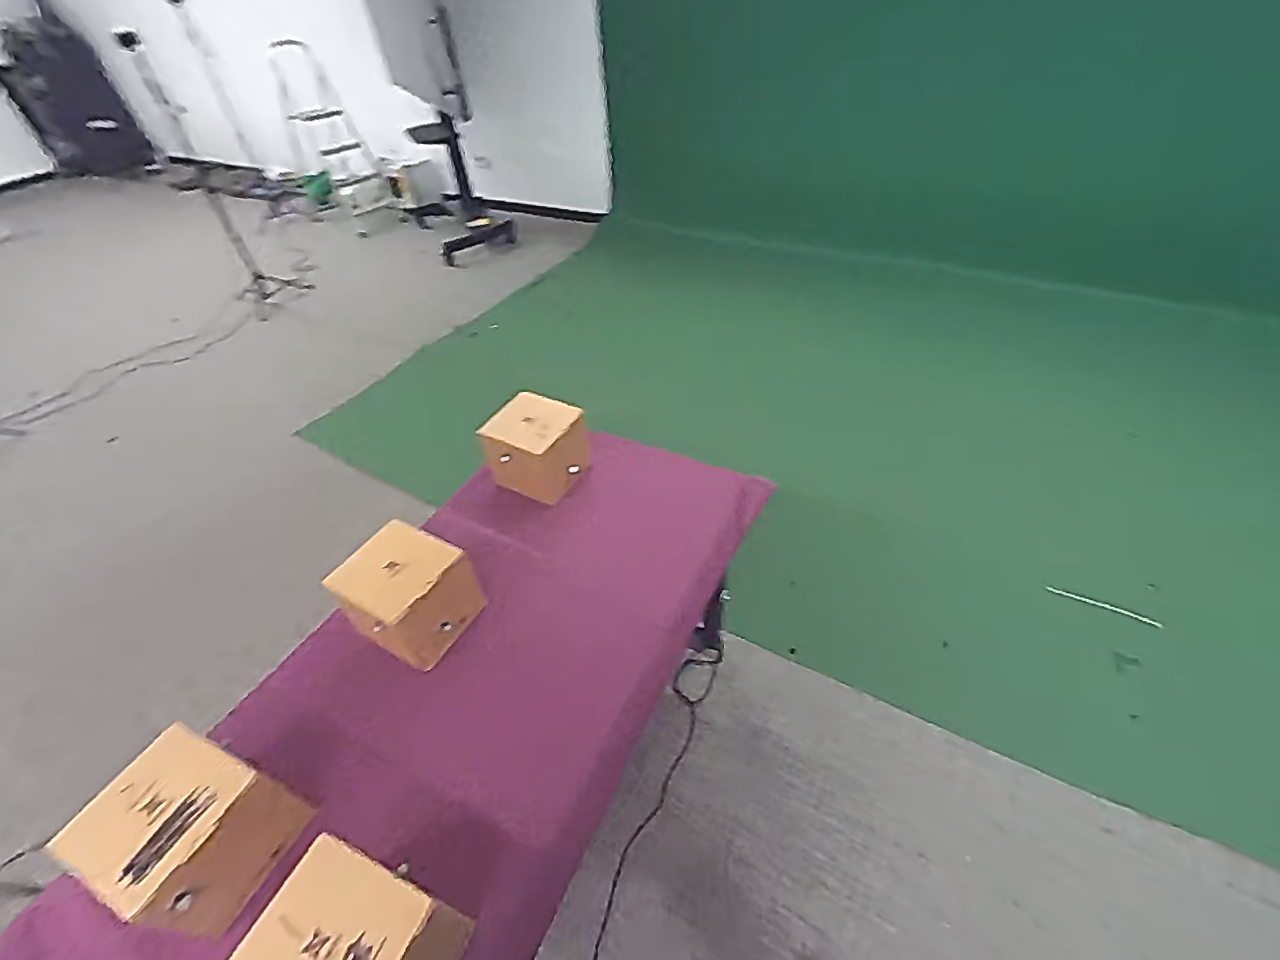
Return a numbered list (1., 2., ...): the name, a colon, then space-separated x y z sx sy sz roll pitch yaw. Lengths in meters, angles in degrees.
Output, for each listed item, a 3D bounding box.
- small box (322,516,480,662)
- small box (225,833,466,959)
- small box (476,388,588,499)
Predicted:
1. small box: -0.424 0.201 0.984 0.179 0.176 0.168 20 49 21
2. small box: -0.331 0.550 0.622 0.179 0.176 0.168 14 47 20
3. small box: -0.241 -0.082 1.251 0.179 0.176 0.168 21 52 22
